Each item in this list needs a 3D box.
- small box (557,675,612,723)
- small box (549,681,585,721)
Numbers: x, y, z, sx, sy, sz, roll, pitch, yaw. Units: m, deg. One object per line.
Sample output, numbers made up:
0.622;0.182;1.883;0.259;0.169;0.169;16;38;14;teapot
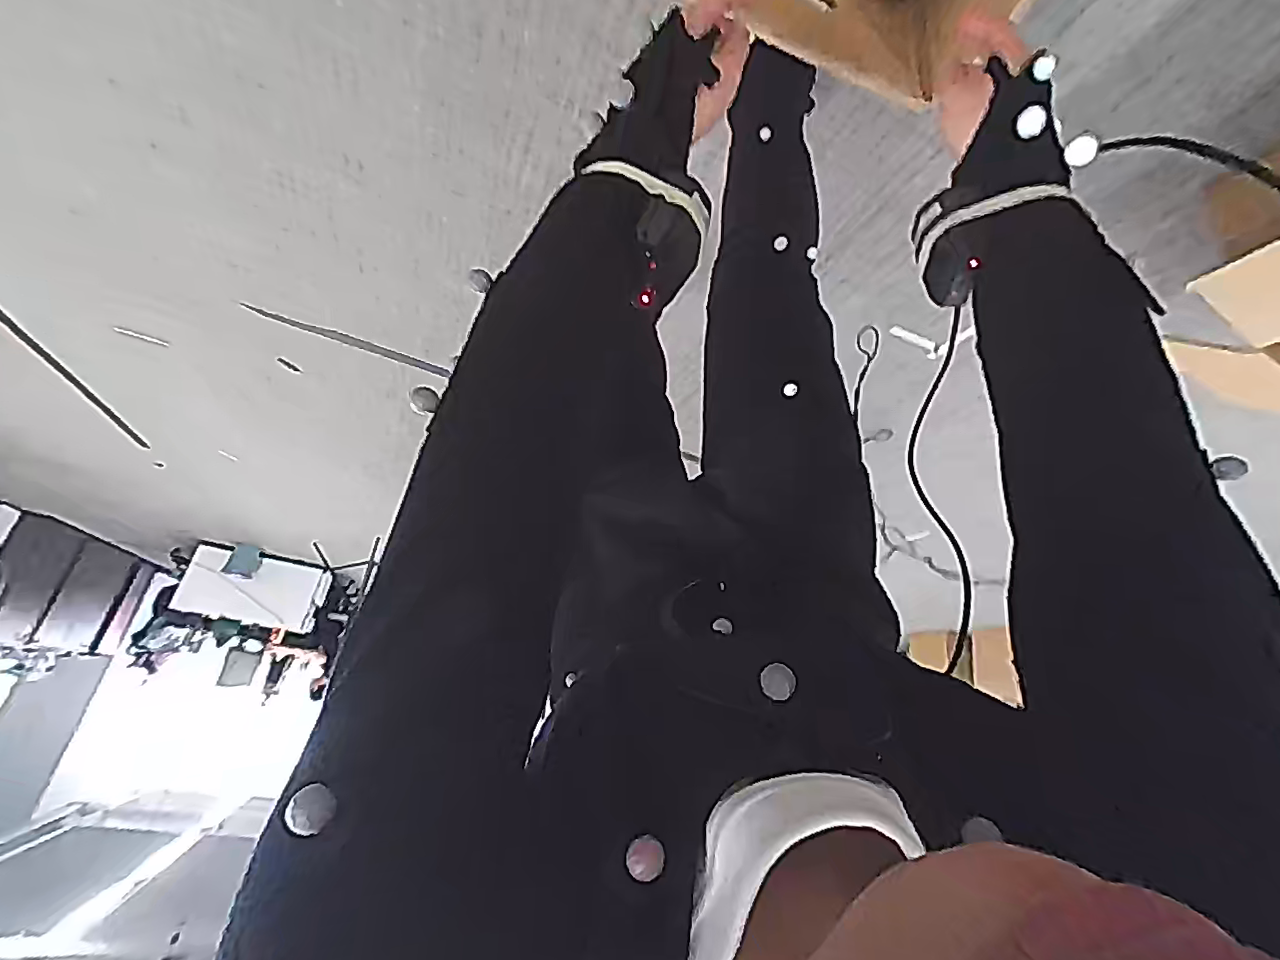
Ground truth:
-0.237;0.938;2.322;0.179;0.176;0.168;16;155;-16;small box
-0.322;1.046;2.561;0.179;0.168;0.176;12;158;-23;small box
